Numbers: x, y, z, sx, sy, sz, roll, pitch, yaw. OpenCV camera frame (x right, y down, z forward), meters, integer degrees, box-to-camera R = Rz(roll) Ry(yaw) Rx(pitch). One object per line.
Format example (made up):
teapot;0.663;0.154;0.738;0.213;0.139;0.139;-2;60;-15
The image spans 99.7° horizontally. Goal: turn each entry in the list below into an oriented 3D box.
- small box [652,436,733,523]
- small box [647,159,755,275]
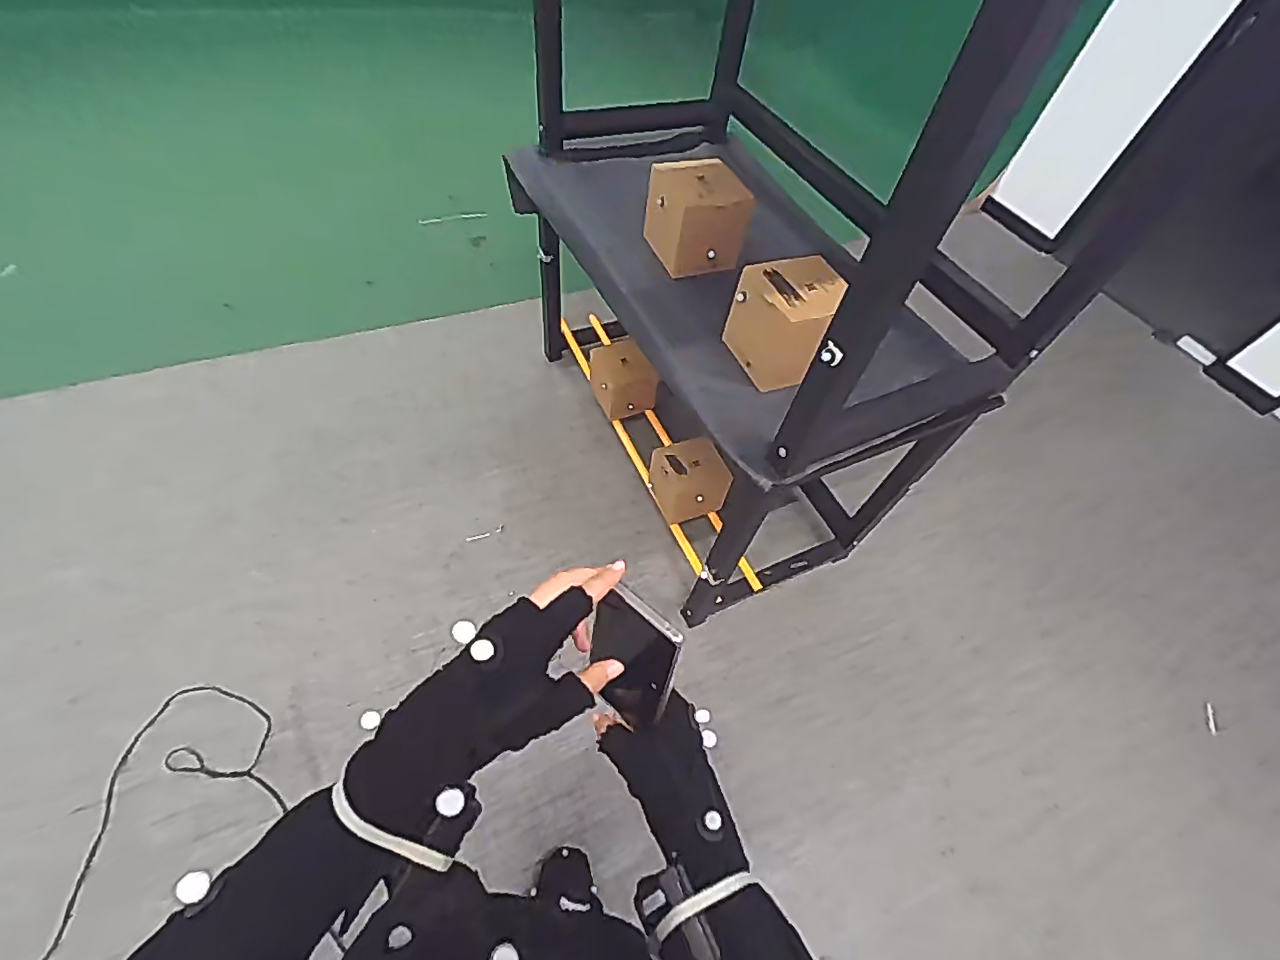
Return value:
small box;0.141;0.003;1.560;0.179;0.176;0.168;-16;59;-17
small box;0.125;-0.585;1.205;0.168;0.176;0.179;-16;59;-17
